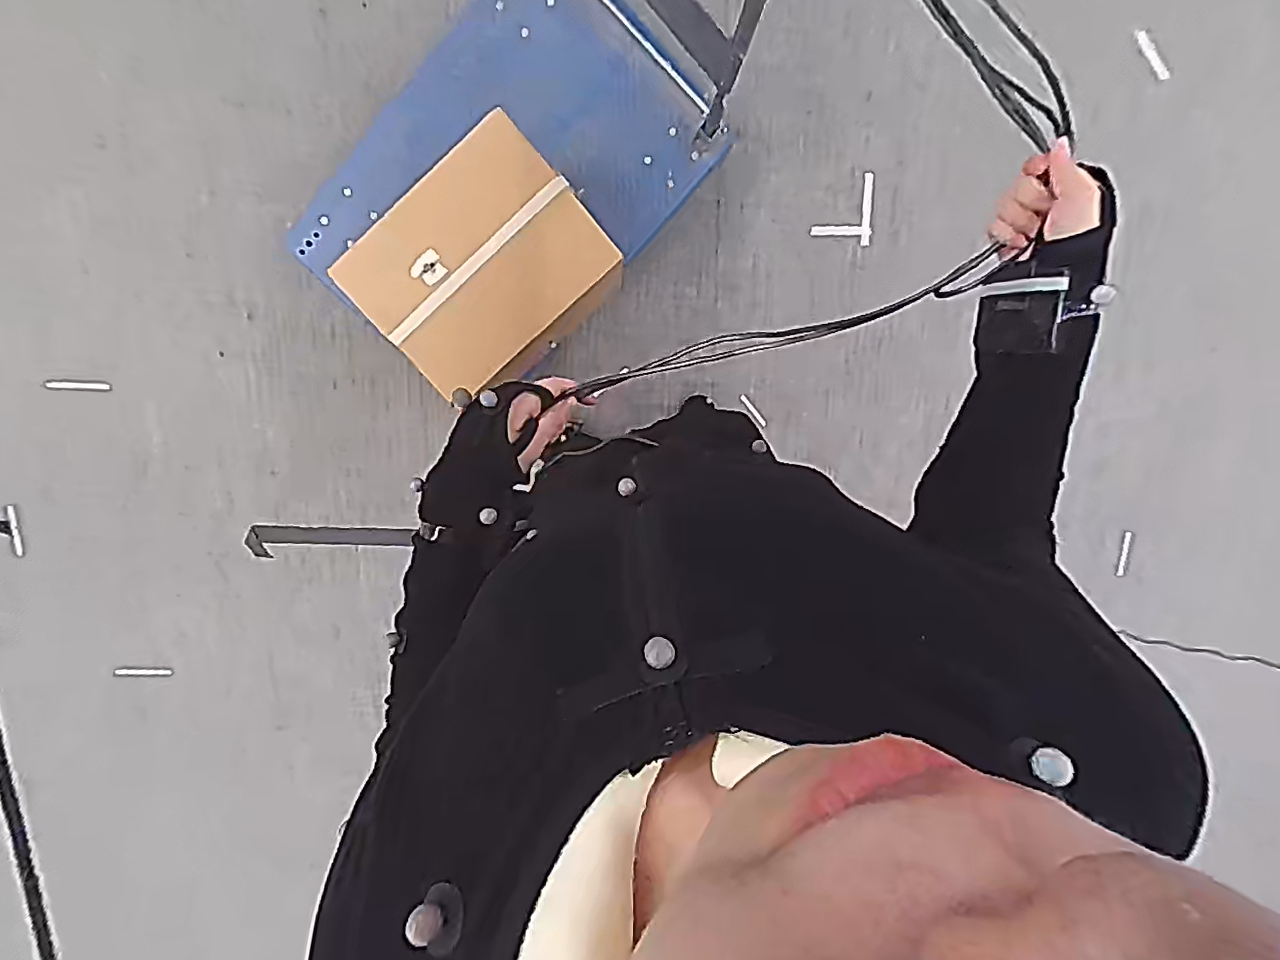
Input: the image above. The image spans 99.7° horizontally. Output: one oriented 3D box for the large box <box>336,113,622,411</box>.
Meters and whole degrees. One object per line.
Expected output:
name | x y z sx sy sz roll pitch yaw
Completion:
large box | -0.281 -0.393 1.072 0.408 0.320 0.320 -41 99 5
